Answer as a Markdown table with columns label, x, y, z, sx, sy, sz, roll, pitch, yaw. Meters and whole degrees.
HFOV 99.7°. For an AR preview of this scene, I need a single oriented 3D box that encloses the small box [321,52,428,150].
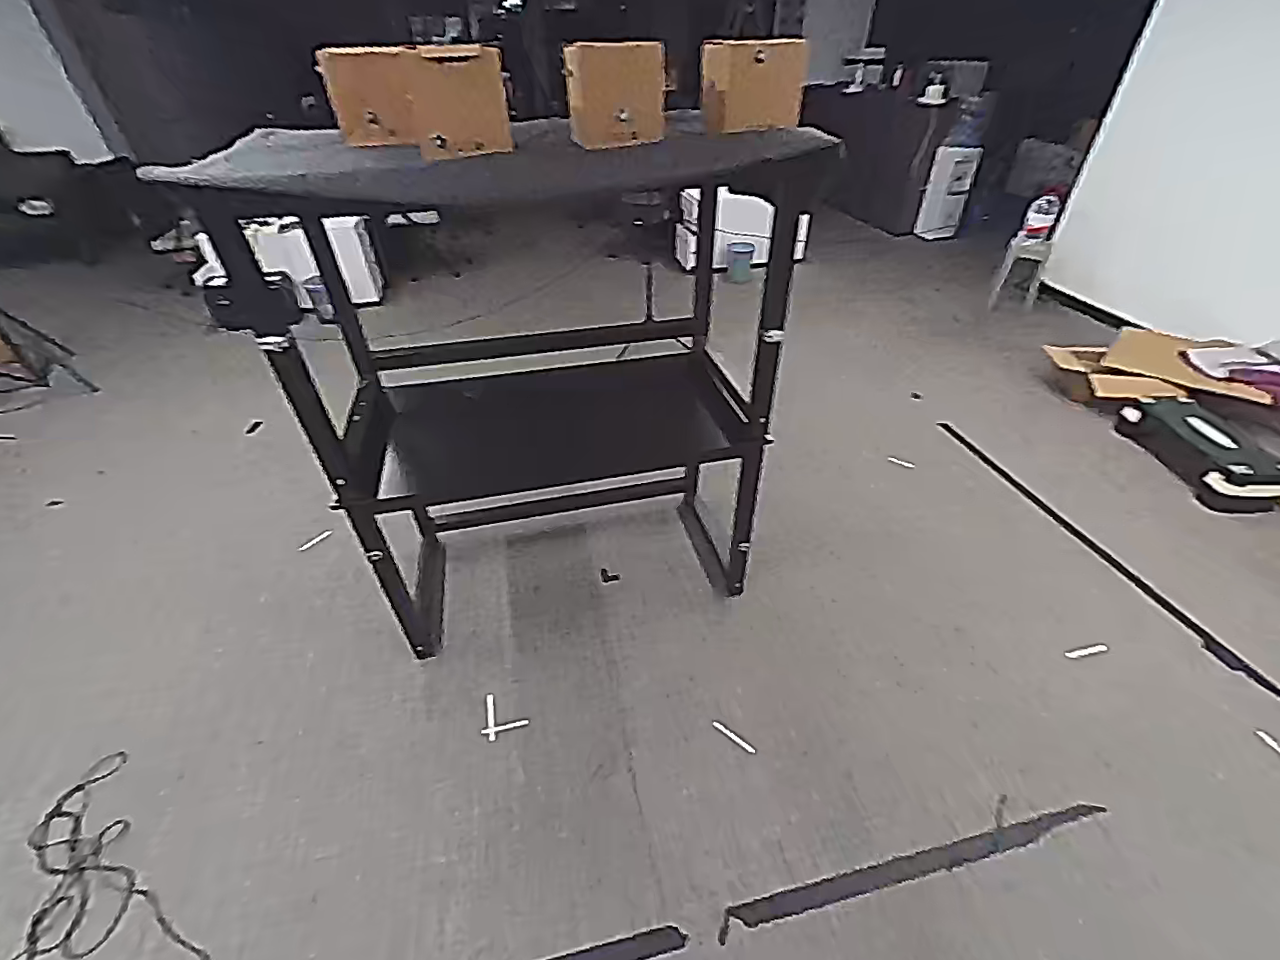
| label | x | y | z | sx | sy | sz | roll | pitch | yaw |
| --- | --- | --- | --- | --- | --- | --- | --- | --- | --- |
| small box | -0.582 | -0.848 | 1.208 | 0.168 | 0.176 | 0.179 | -11 | 42 | -11 |

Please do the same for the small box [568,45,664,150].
| label | x | y | z | sx | sy | sz | roll | pitch | yaw |
| --- | --- | --- | --- | --- | --- | --- | --- | --- | --- |
| small box | -0.052 | -0.791 | 1.120 | 0.168 | 0.176 | 0.179 | -10 | 39 | -9 |

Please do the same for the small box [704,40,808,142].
| label | x | y | z | sx | sy | sz | roll | pitch | yaw |
| --- | --- | --- | --- | --- | --- | --- | --- | --- | --- |
| small box | 0.240 | -0.839 | 1.170 | 0.168 | 0.176 | 0.179 | -9 | 39 | -8 |
